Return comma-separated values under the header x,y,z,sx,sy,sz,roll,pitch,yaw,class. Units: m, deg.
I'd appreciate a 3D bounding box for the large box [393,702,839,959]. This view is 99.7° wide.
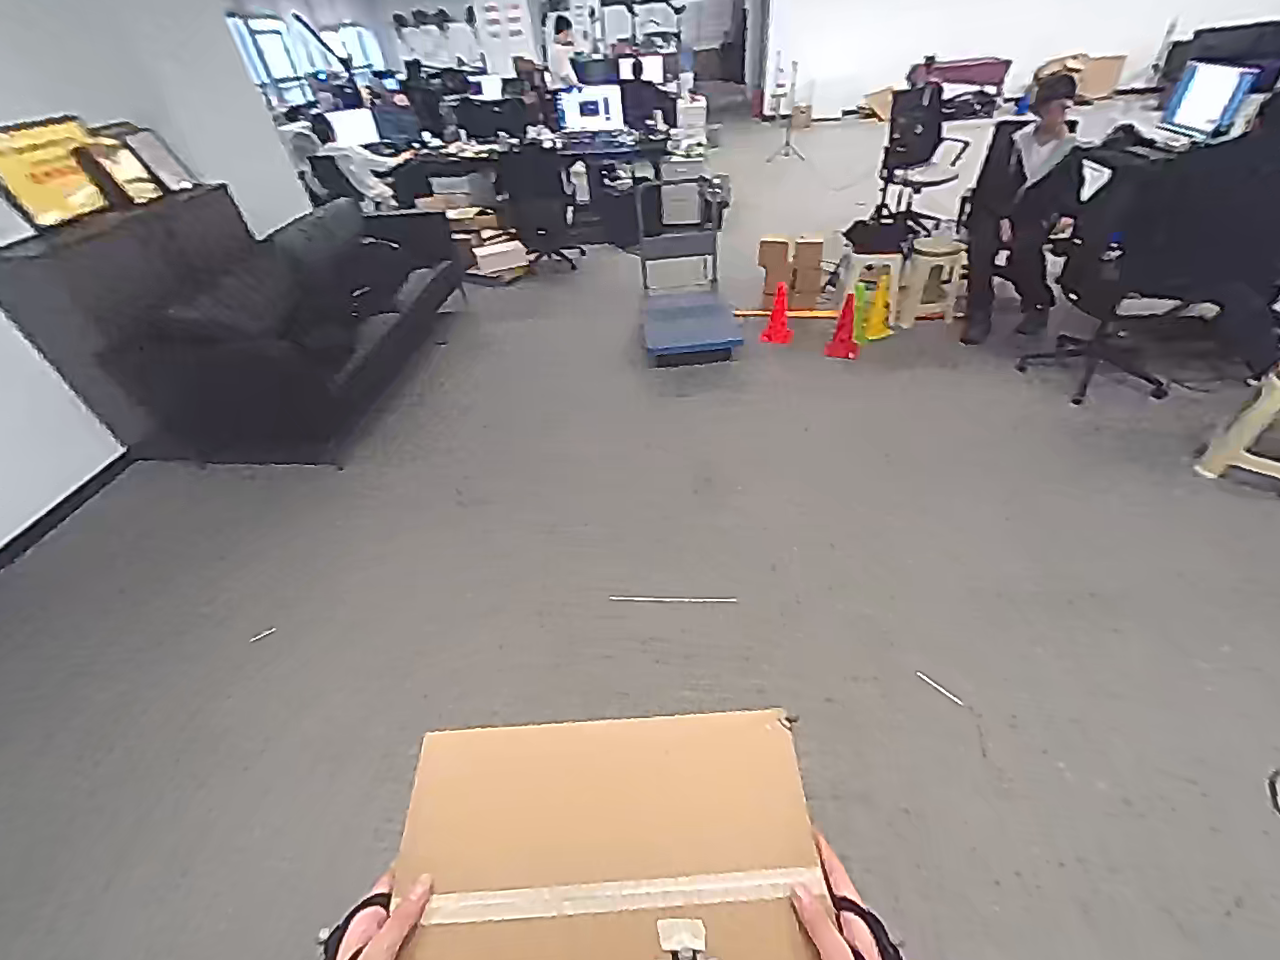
x,y,z,sx,sy,sz,roll,pitch,yaw,class
-0.025,0.482,0.629,0.408,0.320,0.320,-3,49,-1,large box
